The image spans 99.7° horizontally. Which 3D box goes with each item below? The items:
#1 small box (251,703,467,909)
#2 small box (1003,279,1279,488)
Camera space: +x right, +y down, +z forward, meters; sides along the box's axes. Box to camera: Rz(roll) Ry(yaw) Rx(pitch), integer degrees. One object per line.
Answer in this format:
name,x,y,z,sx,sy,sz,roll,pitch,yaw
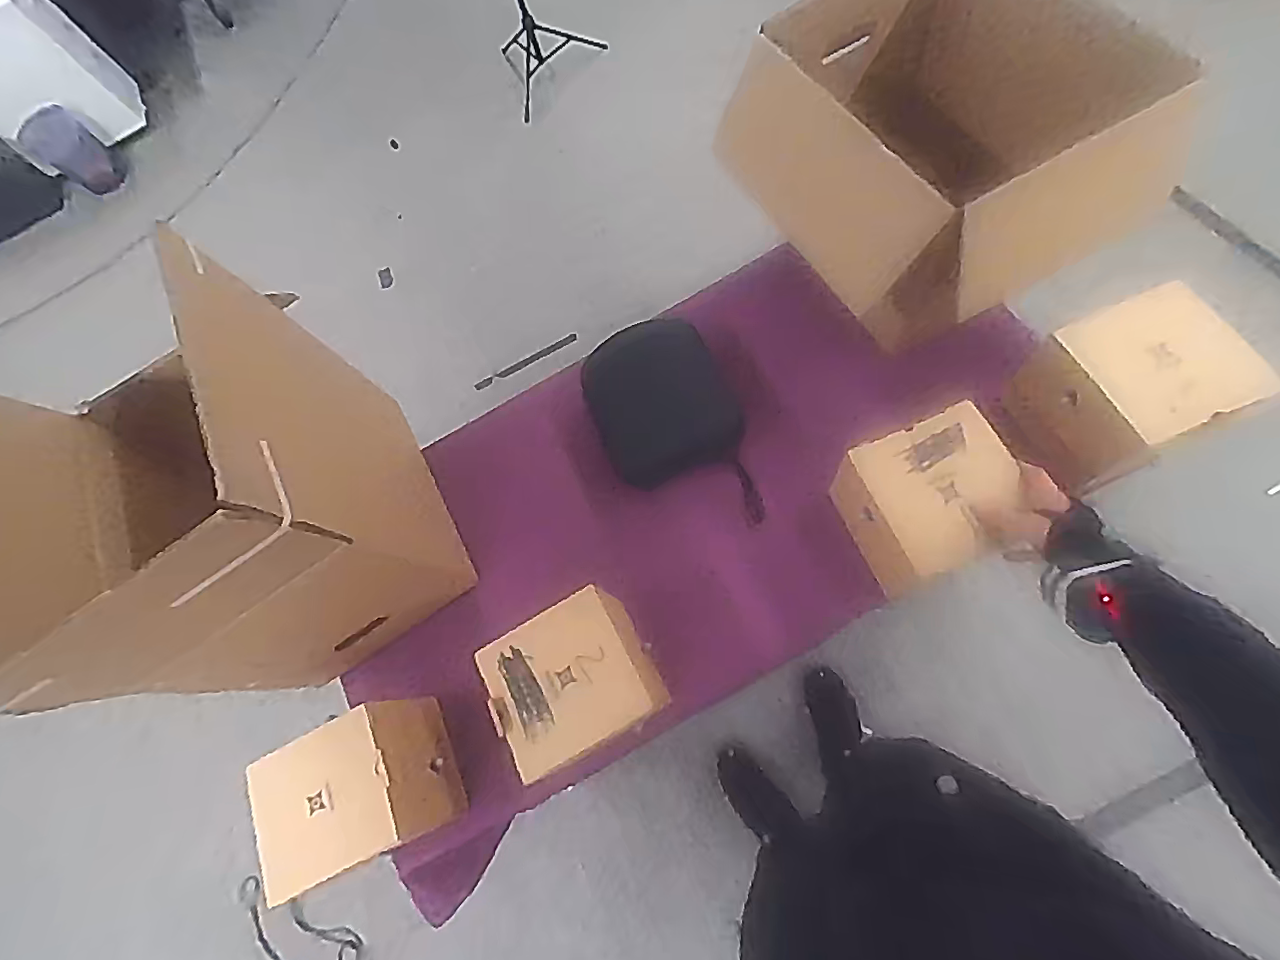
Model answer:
small box,-0.367,0.418,0.726,0.179,0.176,0.168,-29,67,0
small box,0.624,-0.116,0.704,0.168,0.176,0.179,-24,67,4
